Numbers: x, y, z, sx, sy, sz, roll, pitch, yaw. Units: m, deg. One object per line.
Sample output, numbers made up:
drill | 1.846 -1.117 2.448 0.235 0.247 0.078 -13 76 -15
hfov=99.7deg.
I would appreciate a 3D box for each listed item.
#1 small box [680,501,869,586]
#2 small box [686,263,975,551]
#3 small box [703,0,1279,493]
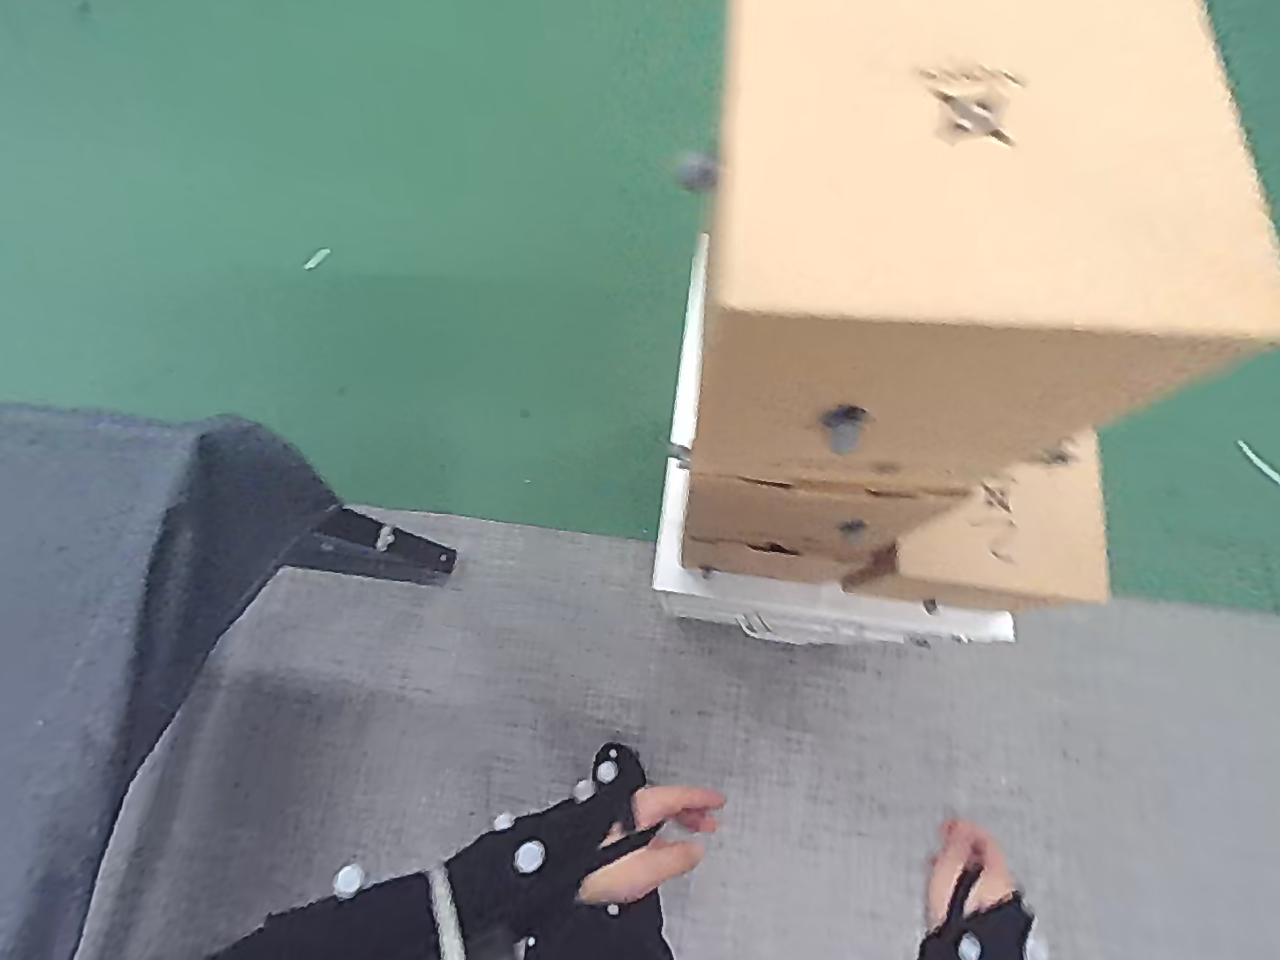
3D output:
small box | 0.135 0.009 0.571 0.168 0.176 0.179 8 72 5
small box | 0.127 -0.048 0.419 0.168 0.176 0.179 6 72 3
small box | 0.122 -0.100 0.265 0.168 0.176 0.179 4 72 3
